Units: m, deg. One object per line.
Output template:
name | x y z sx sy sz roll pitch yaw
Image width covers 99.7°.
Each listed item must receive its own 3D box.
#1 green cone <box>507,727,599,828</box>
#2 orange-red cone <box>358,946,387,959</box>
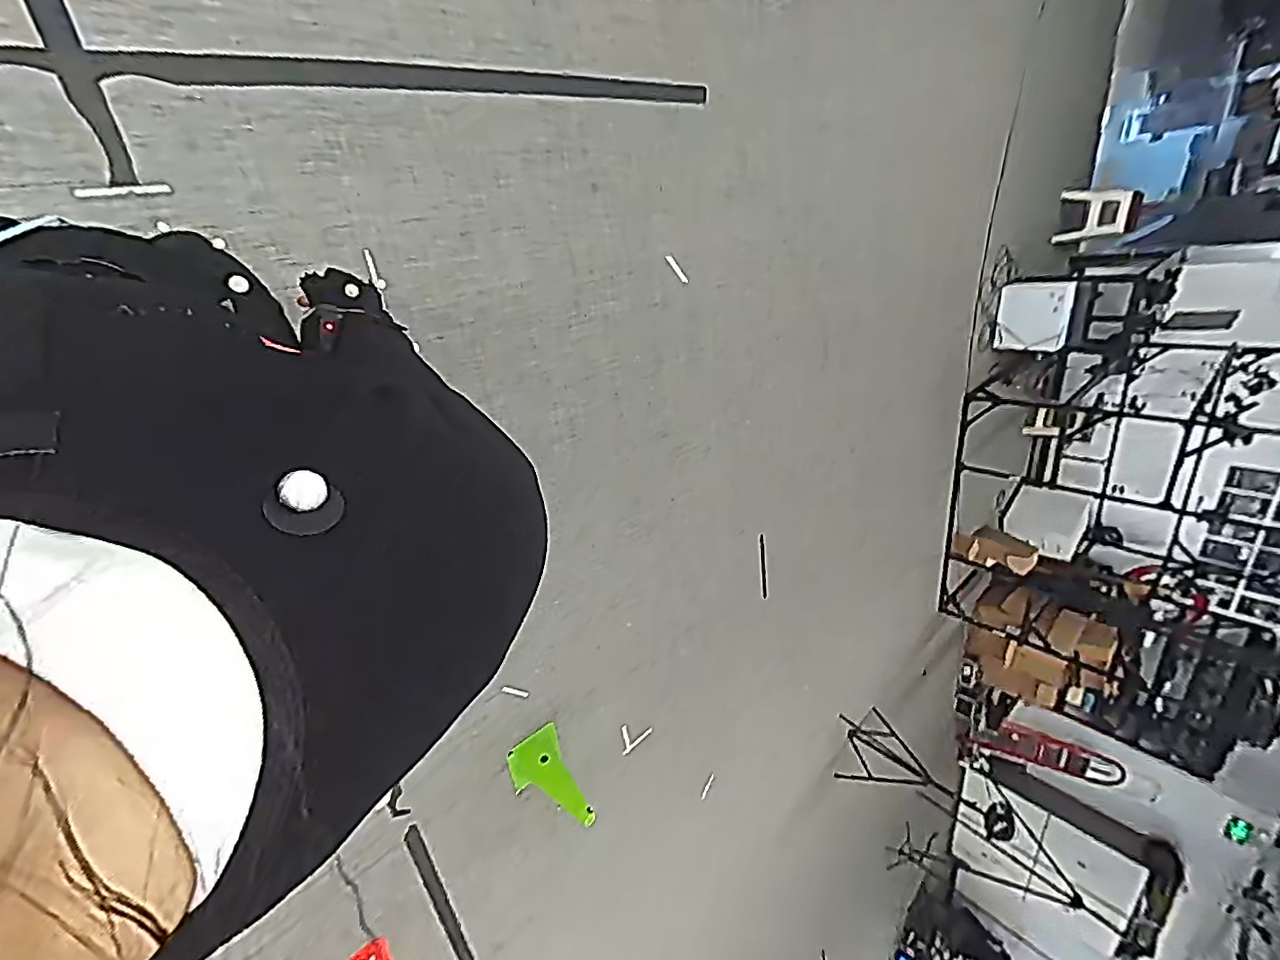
green cone | -0.272 1.068 1.862 0.202 0.368 0.200 -26 120 -36
orange-red cone | -0.784 1.633 1.578 0.199 0.360 0.198 -20 115 -36
